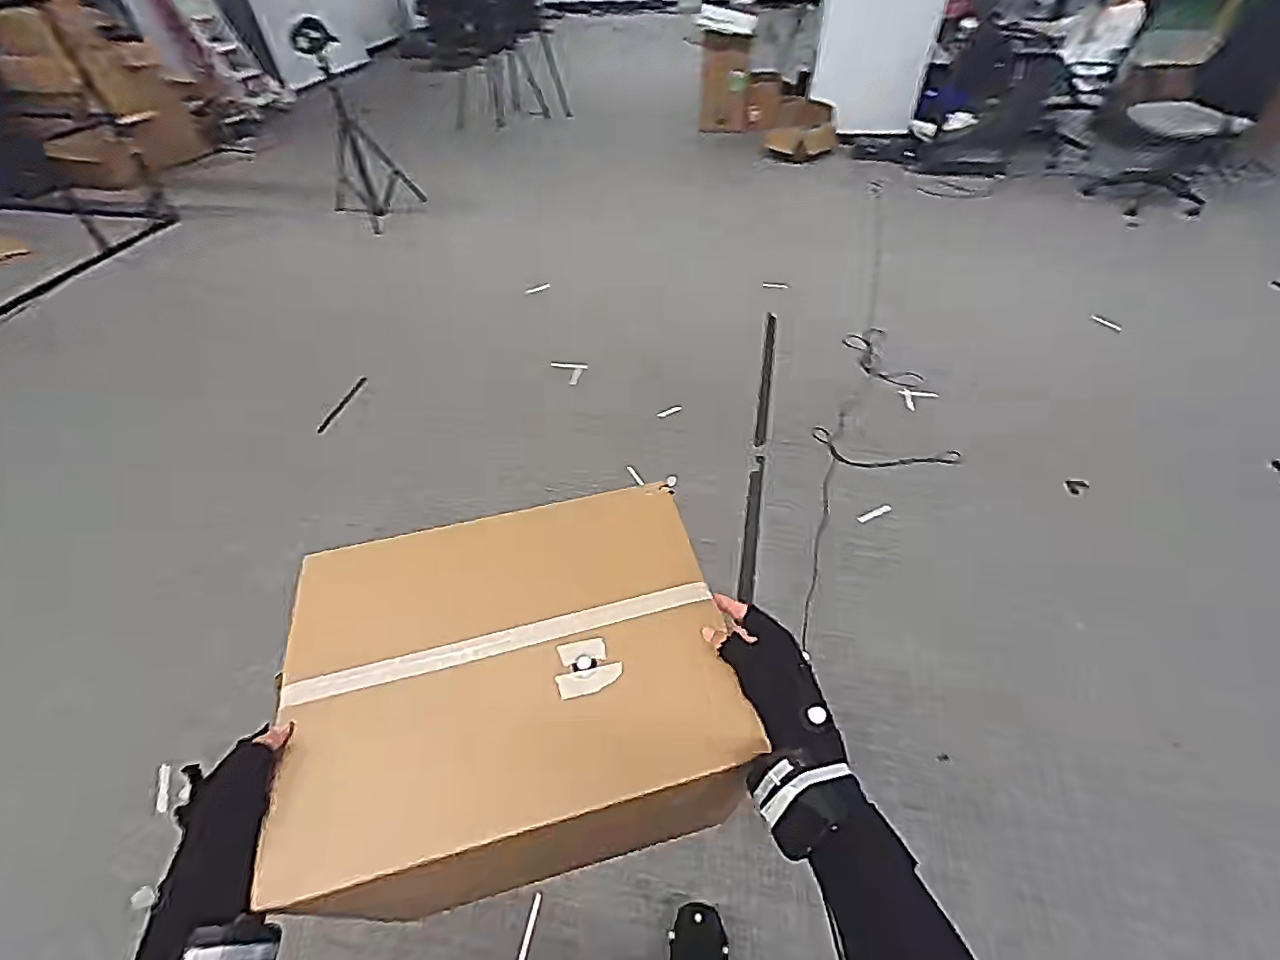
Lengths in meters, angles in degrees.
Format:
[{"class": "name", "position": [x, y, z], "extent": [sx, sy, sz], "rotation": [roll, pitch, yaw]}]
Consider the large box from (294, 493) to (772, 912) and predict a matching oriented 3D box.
[{"class": "large box", "position": [-0.111, 0.261, 0.647], "extent": [0.408, 0.320, 0.320], "rotation": [-11, 51, -9]}]
